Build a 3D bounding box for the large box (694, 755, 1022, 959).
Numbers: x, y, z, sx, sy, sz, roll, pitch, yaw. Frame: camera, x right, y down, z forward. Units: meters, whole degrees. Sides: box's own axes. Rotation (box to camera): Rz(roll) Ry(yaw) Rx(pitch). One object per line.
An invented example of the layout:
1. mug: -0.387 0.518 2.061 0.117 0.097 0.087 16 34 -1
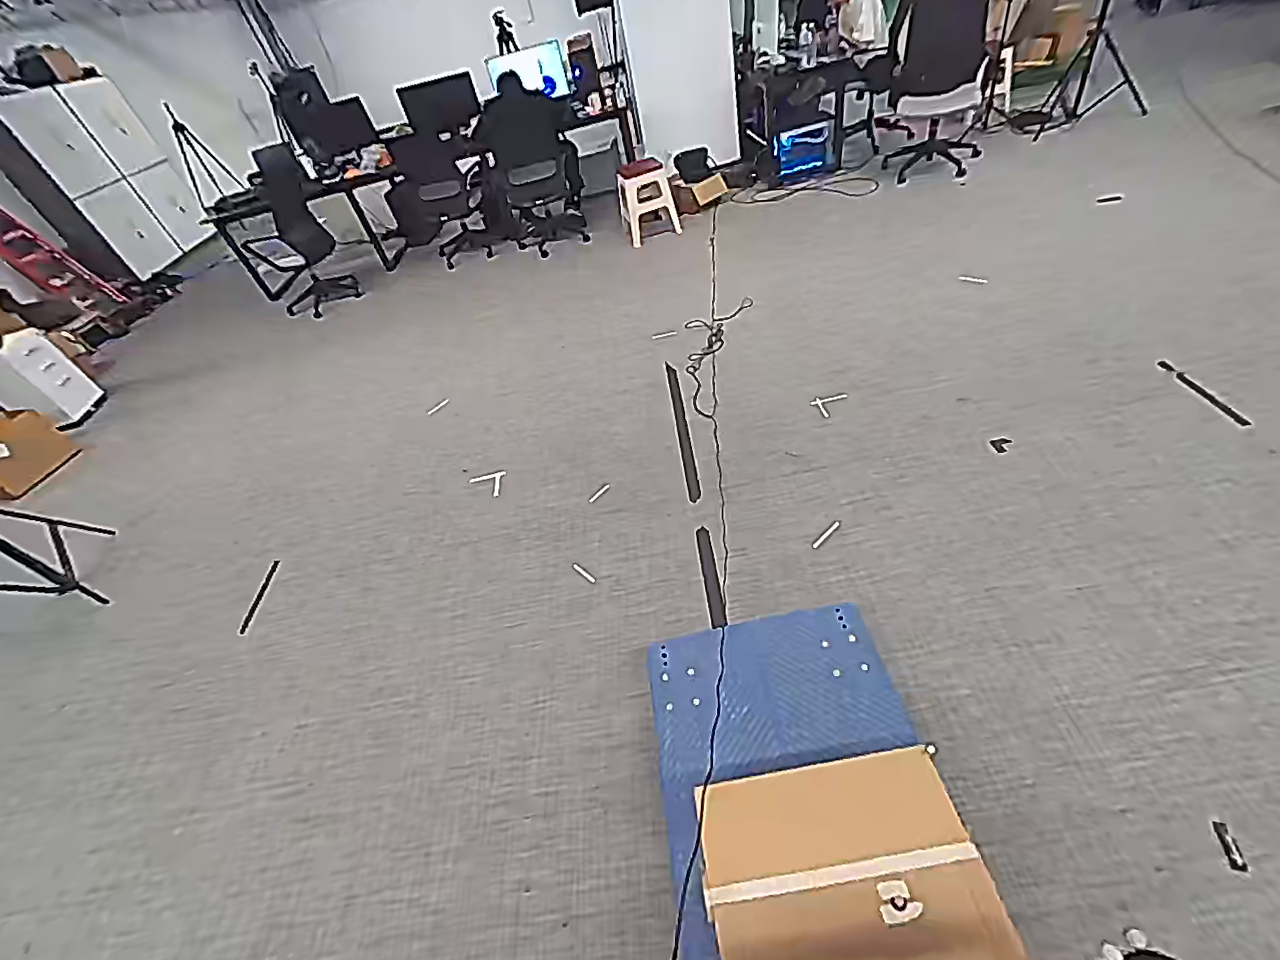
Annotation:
1. large box: 0.330 0.715 0.904 0.408 0.320 0.320 -13 42 4
